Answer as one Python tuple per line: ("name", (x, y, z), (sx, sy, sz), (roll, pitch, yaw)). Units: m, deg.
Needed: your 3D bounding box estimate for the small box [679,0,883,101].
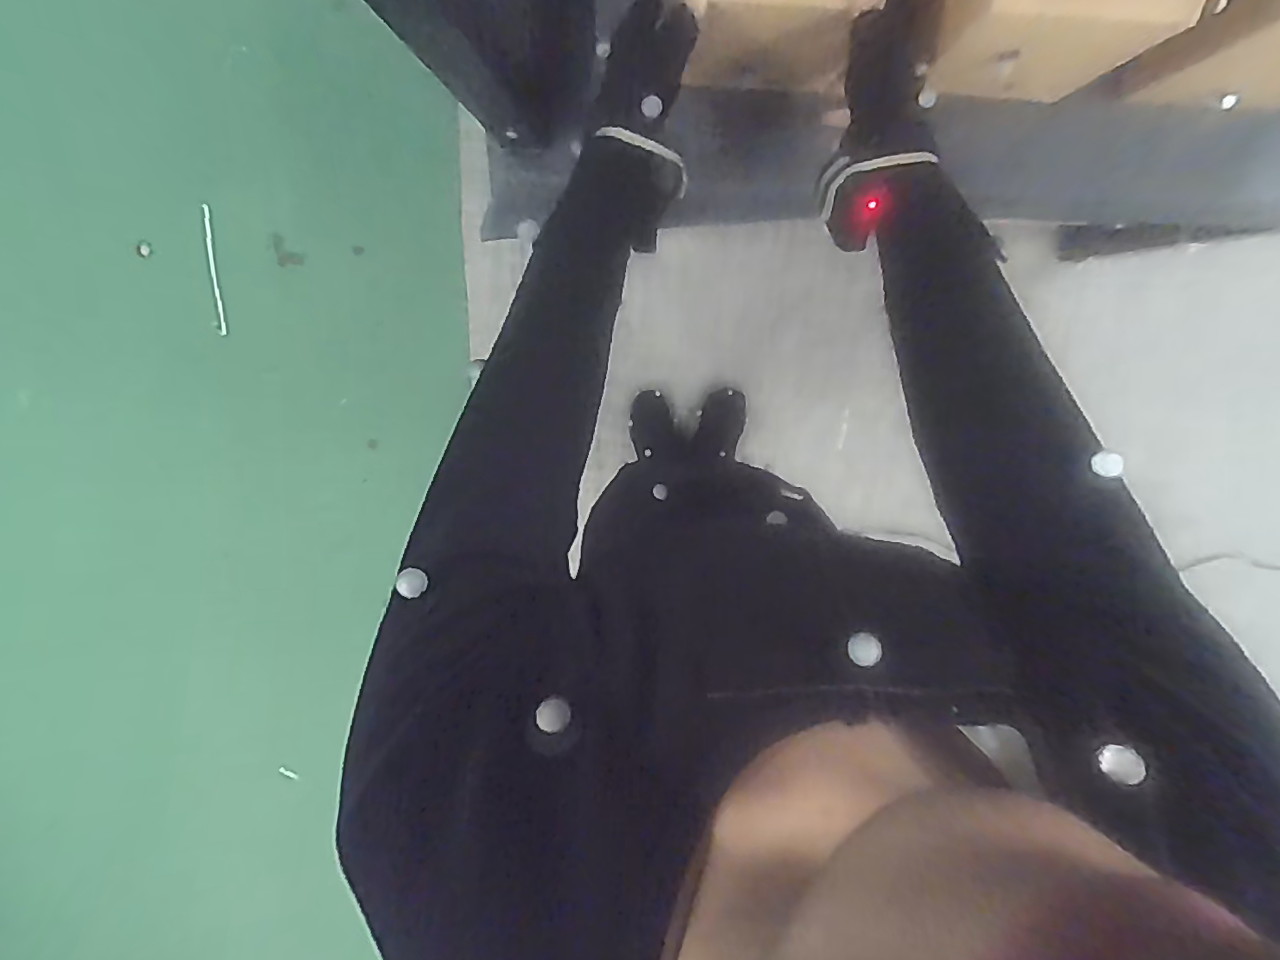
("small box", (0.126, -0.487, 0.496), (0.168, 0.176, 0.179), (5, 107, 2))
